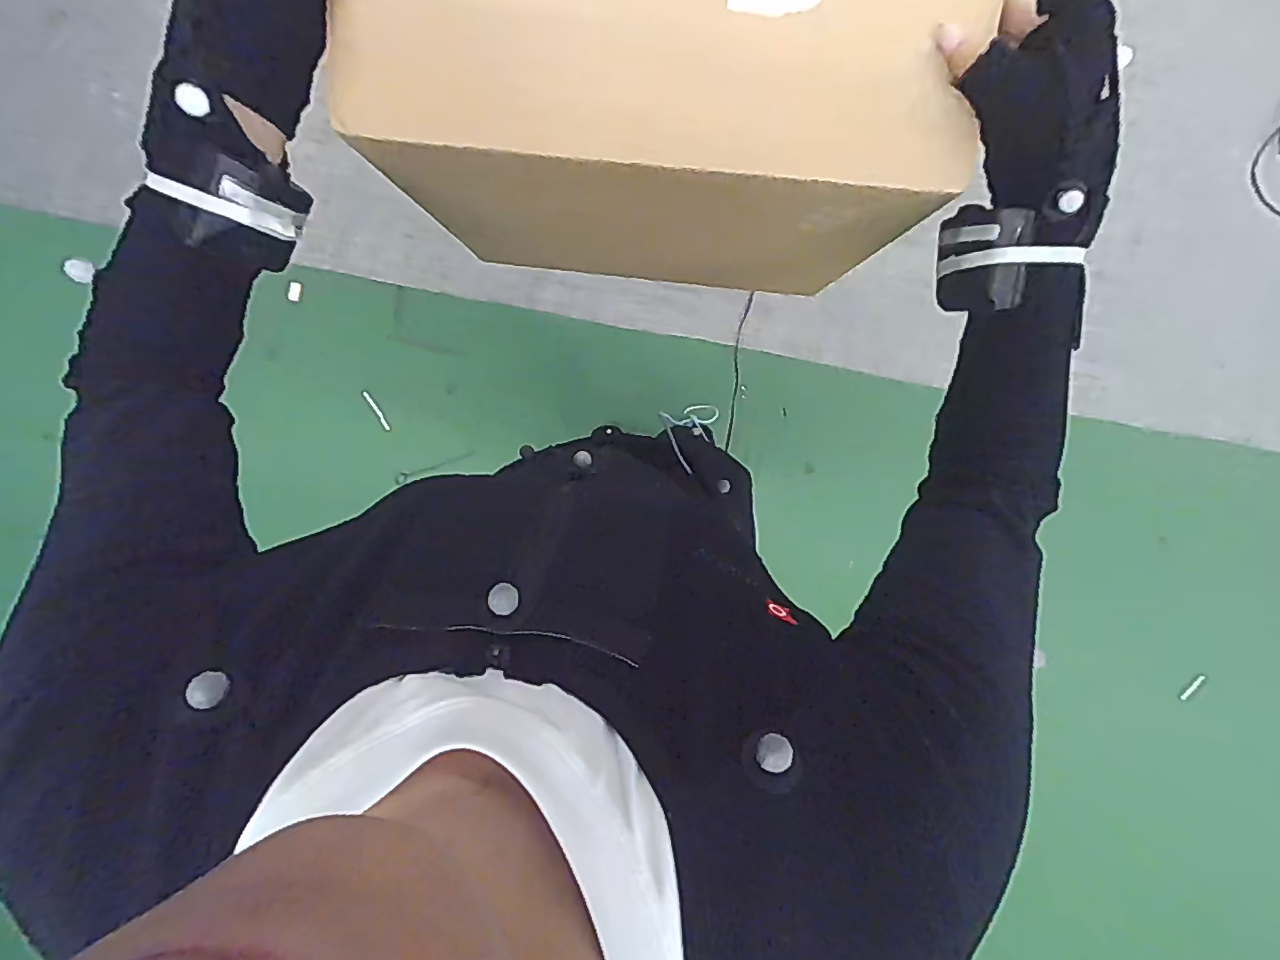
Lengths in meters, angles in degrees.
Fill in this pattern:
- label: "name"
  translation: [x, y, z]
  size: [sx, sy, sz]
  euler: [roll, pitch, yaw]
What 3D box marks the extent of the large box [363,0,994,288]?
- label: "large box"
  translation: [0.028, -0.376, 0.482]
  size: [0.408, 0.320, 0.320]
  euler: [5, 98, -1]
